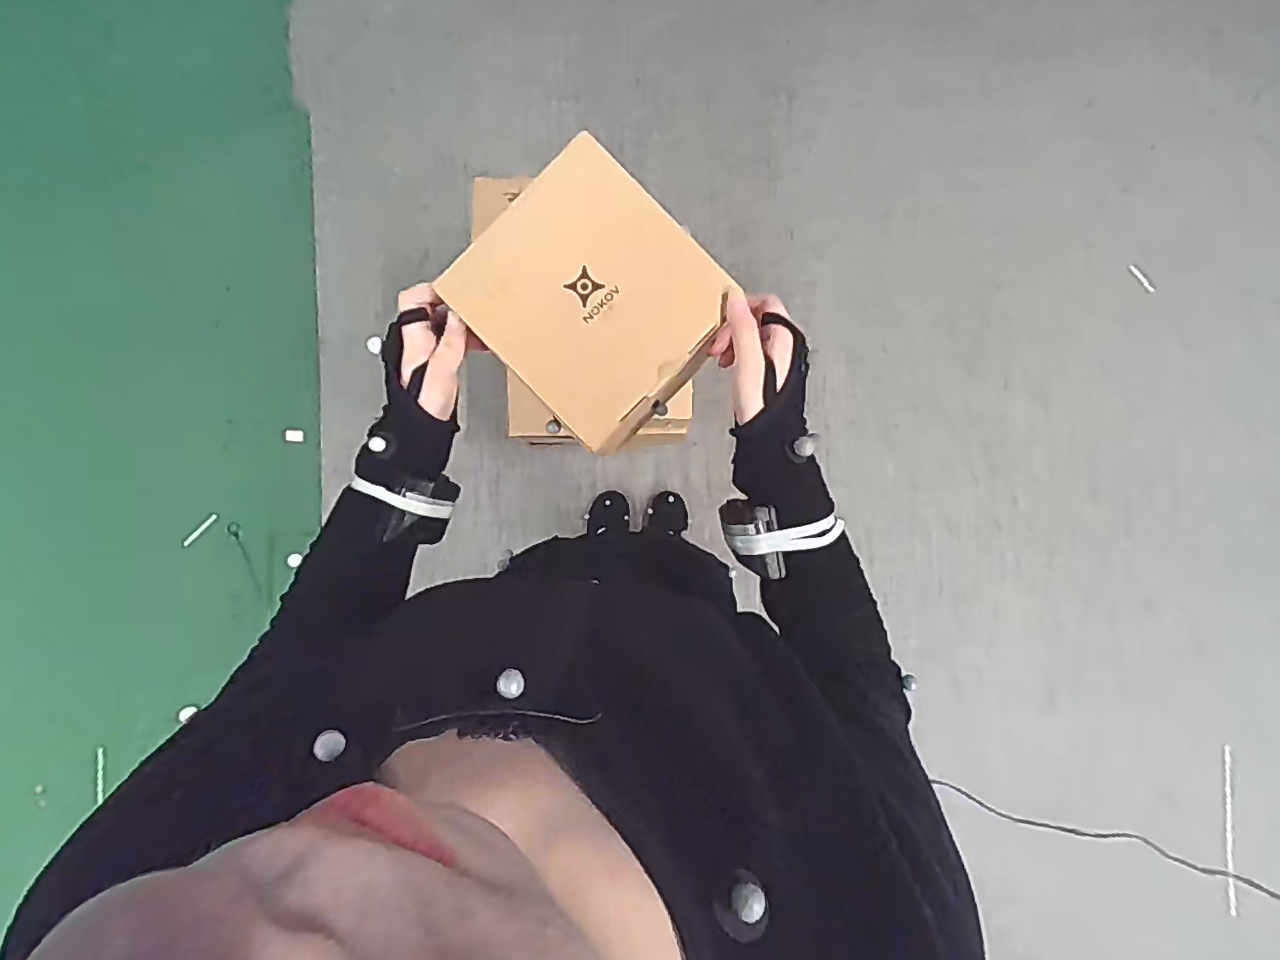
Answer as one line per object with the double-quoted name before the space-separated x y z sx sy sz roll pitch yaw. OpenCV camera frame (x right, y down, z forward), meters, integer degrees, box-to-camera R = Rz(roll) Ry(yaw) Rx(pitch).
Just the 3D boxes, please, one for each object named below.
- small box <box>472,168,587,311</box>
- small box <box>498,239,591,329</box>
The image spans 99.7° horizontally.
"small box" -0.187 -0.416 0.954 0.168 0.176 0.179 1 88 1
"small box" -0.192 -0.426 1.119 0.168 0.176 0.179 -1 88 1
